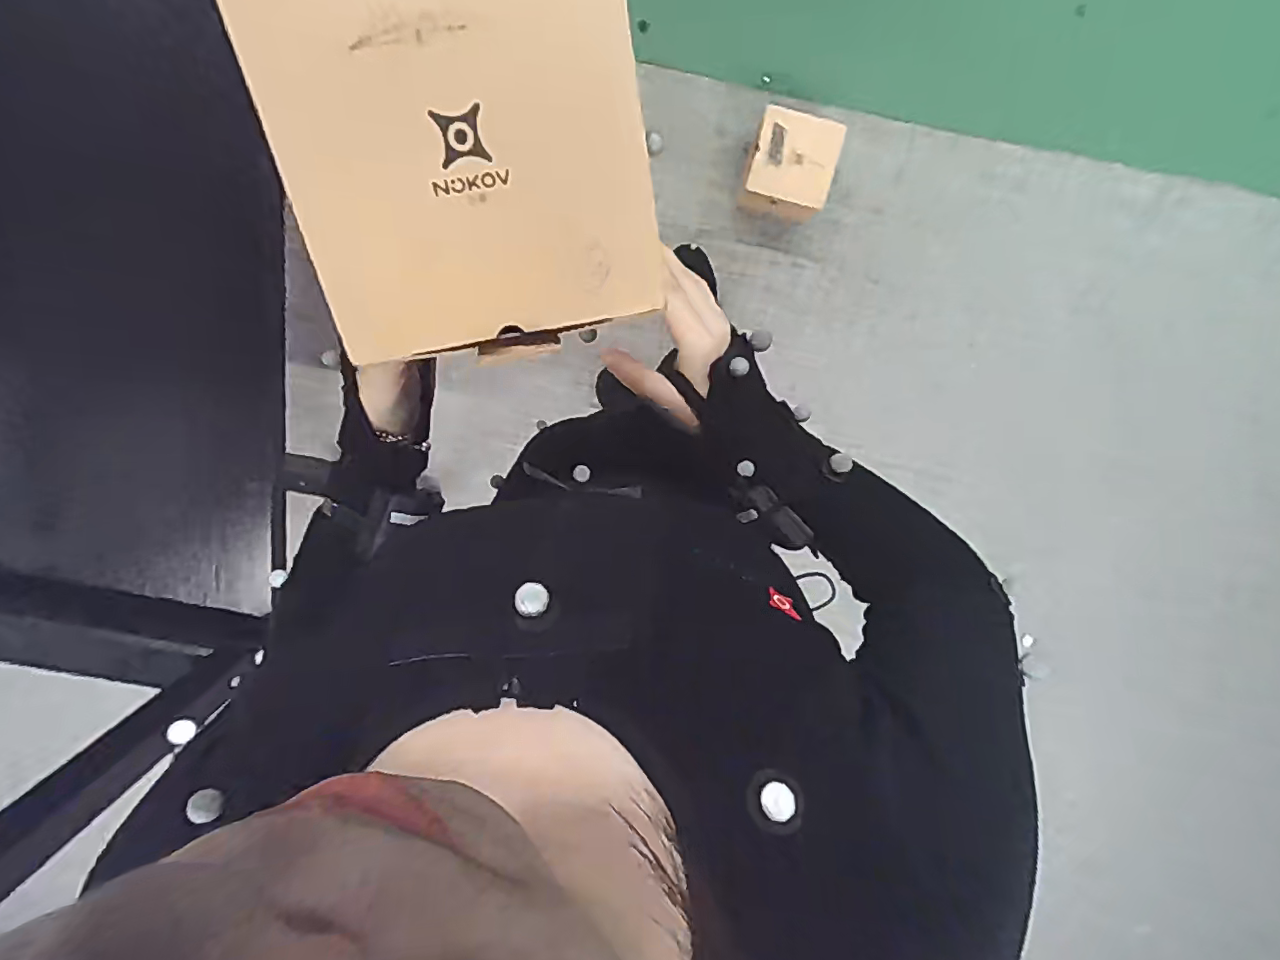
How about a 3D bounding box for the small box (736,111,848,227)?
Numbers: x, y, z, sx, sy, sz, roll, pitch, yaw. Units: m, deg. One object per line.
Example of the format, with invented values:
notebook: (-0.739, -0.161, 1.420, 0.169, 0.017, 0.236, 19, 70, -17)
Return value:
small box: (0.324, -0.679, 1.202, 0.179, 0.176, 0.168, 14, 107, -4)
